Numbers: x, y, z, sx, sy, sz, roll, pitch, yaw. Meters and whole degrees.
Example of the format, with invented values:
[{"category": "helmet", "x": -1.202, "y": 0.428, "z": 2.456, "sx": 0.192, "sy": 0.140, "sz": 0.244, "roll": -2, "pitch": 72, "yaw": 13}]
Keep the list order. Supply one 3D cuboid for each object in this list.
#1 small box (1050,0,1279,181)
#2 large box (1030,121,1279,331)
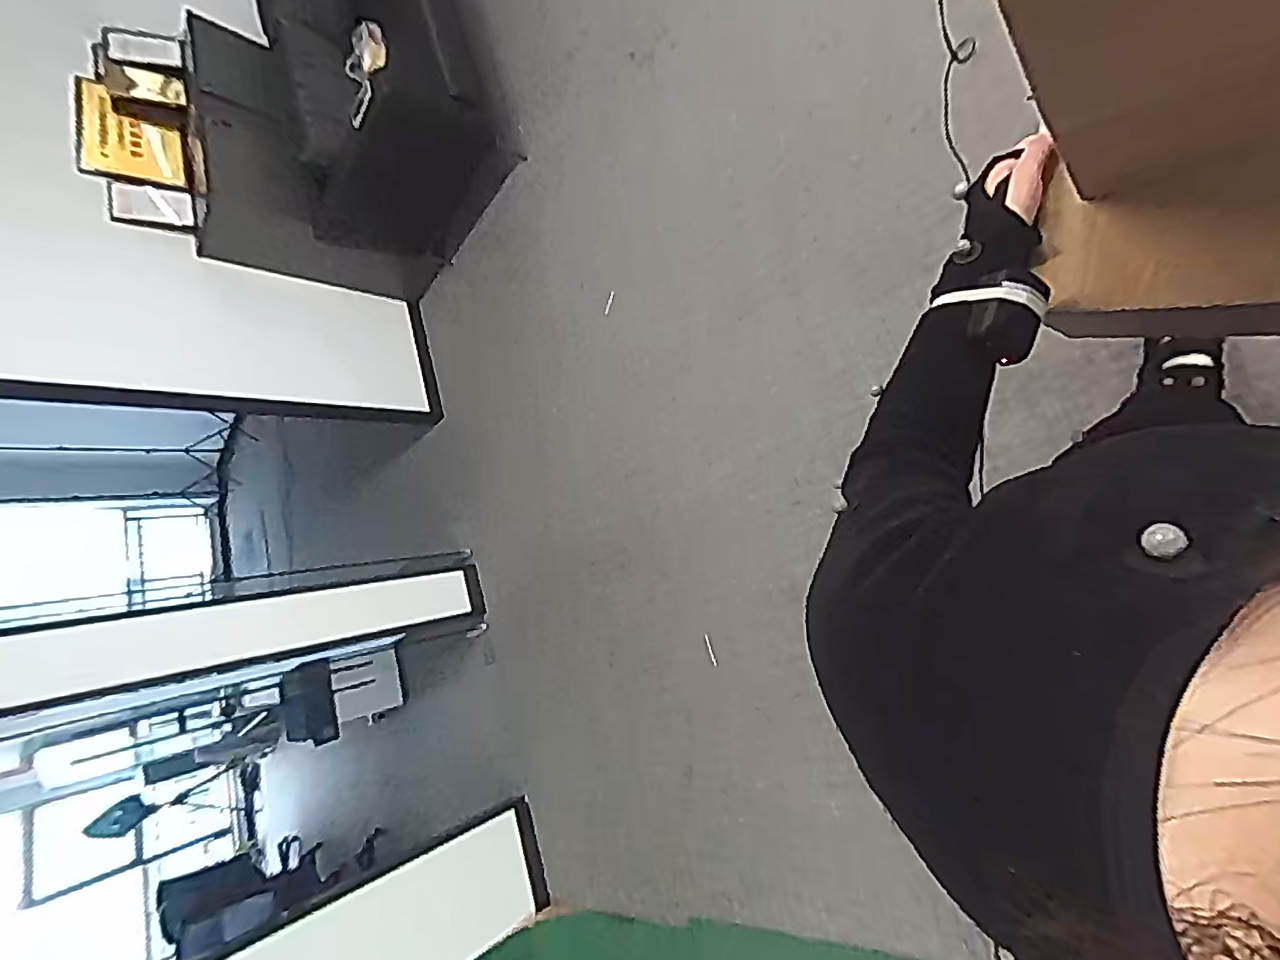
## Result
[{"category": "small box", "x": 0.368, "y": -0.304, "z": 0.317, "sx": 0.179, "sy": 0.176, "sz": 0.168, "roll": 7, "pitch": 101, "yaw": 45}, {"category": "large box", "x": 0.599, "y": -0.300, "z": 0.435, "sx": 0.408, "sy": 0.320, "sz": 0.320, "roll": 12, "pitch": 106, "yaw": 43}]
